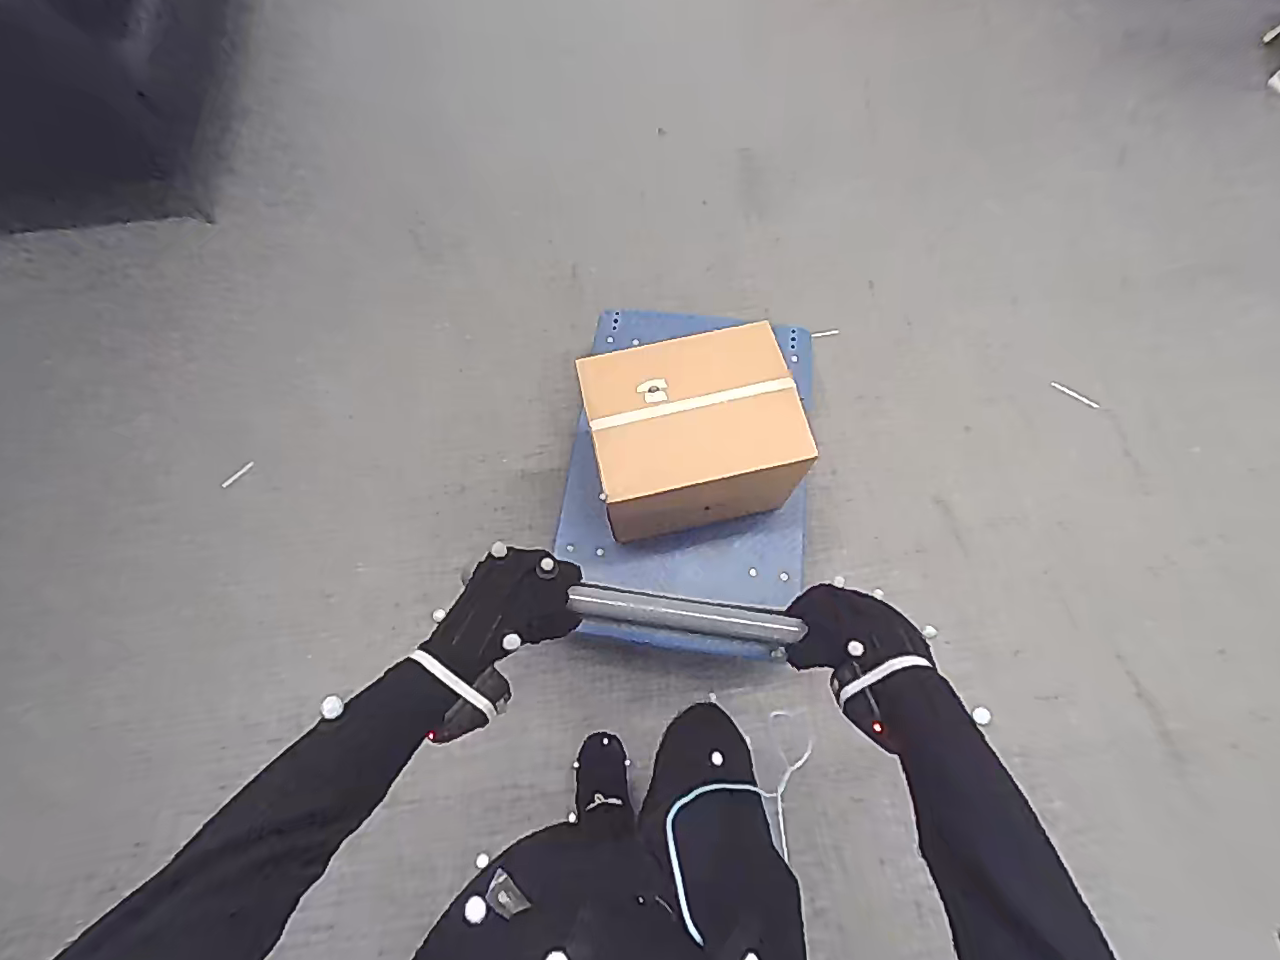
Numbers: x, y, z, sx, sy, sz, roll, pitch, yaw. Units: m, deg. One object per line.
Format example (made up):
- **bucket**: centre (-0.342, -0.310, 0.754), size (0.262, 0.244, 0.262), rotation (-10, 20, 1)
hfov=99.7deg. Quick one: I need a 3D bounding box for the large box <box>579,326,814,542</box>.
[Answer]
- **large box**: centre (0.108, -0.084, 1.191), size (0.408, 0.320, 0.320), rotation (-13, 69, -3)
